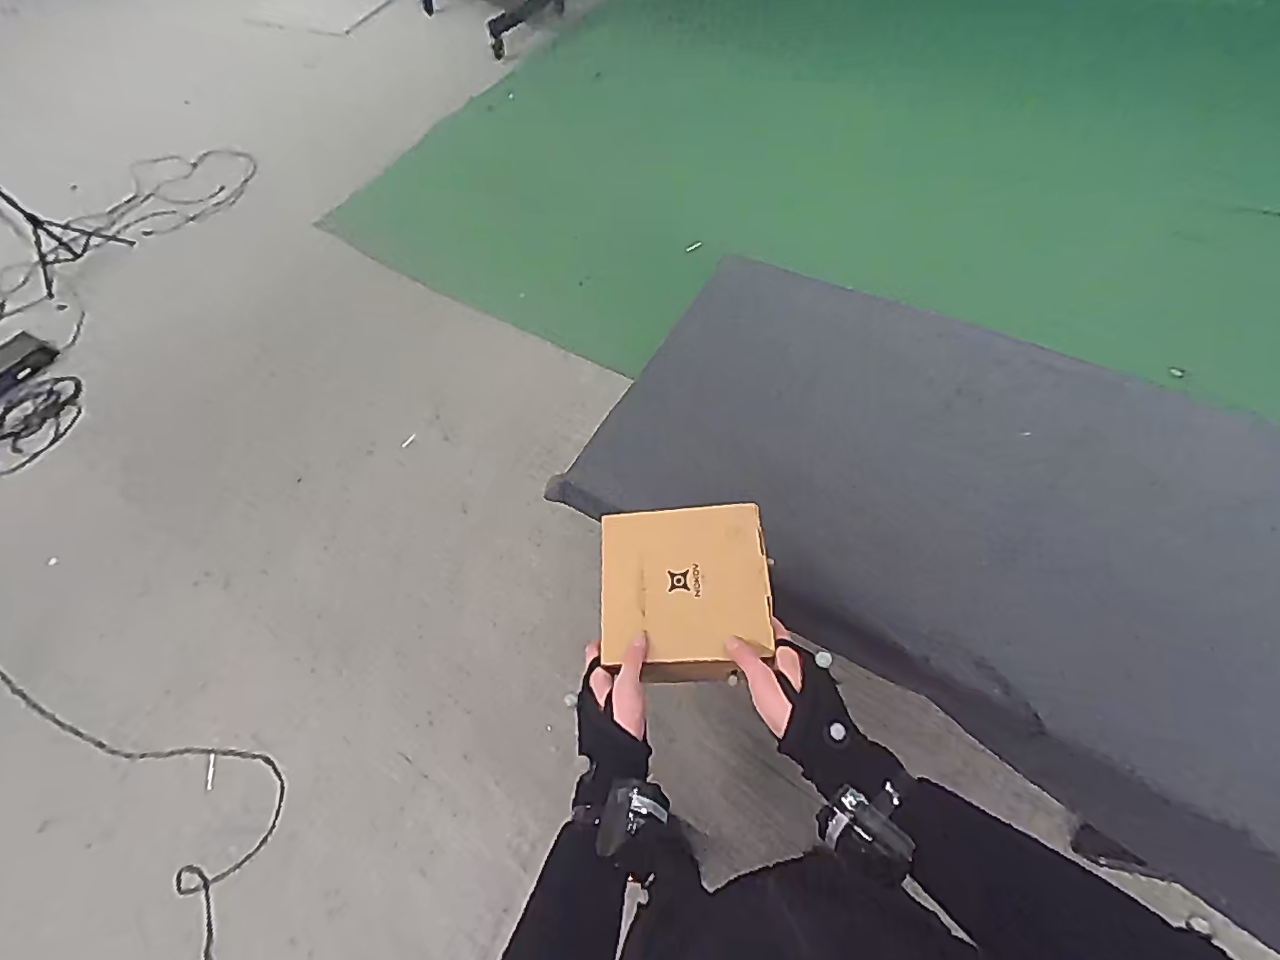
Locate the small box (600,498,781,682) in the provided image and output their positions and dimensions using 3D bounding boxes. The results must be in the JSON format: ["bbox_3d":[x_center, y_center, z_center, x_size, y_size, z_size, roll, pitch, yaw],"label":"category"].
[{"bbox_3d":[0.058,0.134,0.624,0.179,0.176,0.168,-5,61,8],"label":"small box"}]
